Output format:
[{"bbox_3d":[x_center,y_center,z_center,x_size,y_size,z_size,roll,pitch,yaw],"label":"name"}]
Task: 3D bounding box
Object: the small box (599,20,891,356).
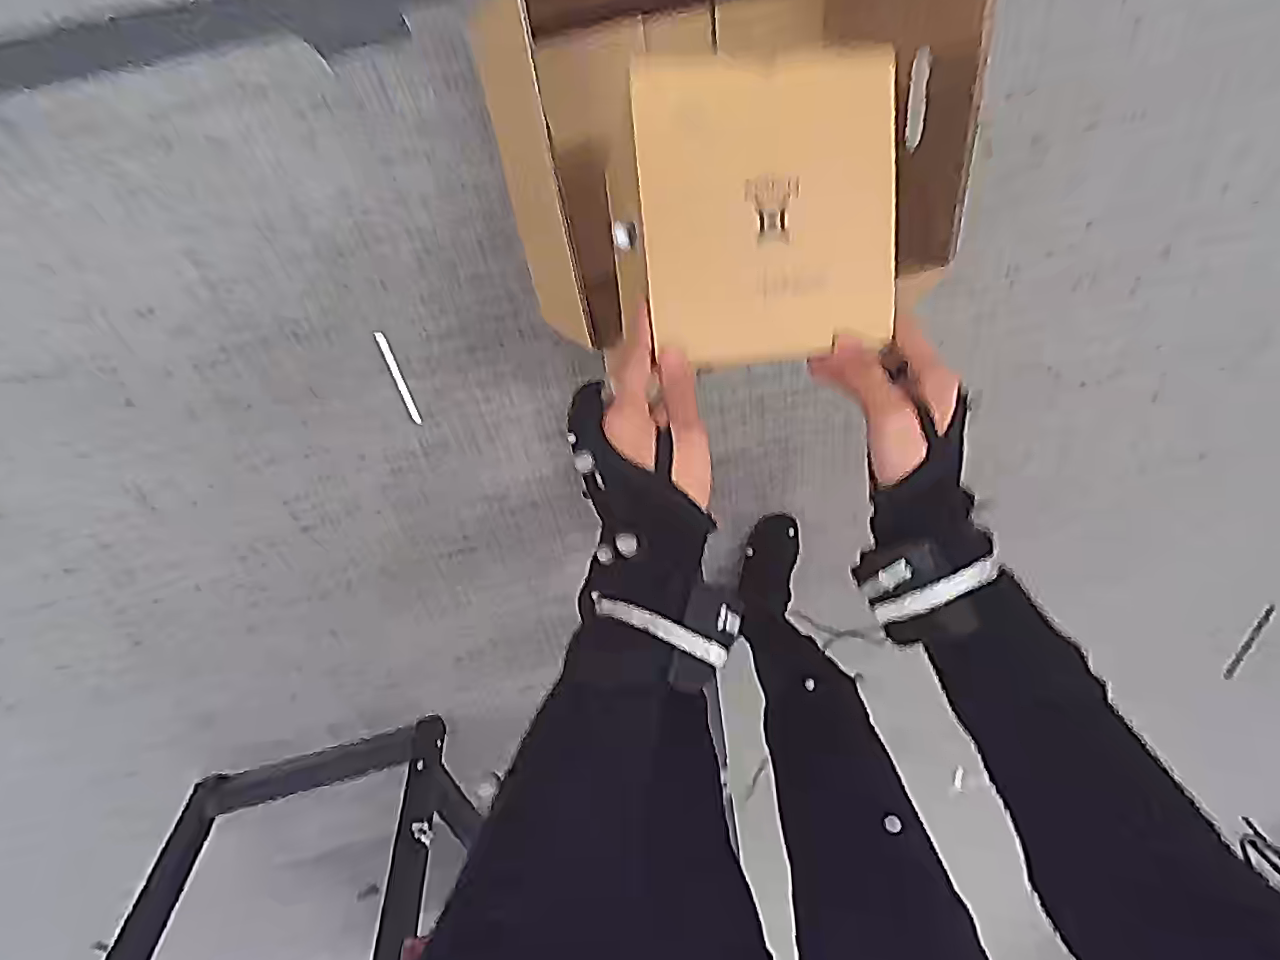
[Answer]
[{"bbox_3d":[0.063,-0.193,0.405,0.168,0.176,0.179,-8,102,-6],"label":"small box"}]
